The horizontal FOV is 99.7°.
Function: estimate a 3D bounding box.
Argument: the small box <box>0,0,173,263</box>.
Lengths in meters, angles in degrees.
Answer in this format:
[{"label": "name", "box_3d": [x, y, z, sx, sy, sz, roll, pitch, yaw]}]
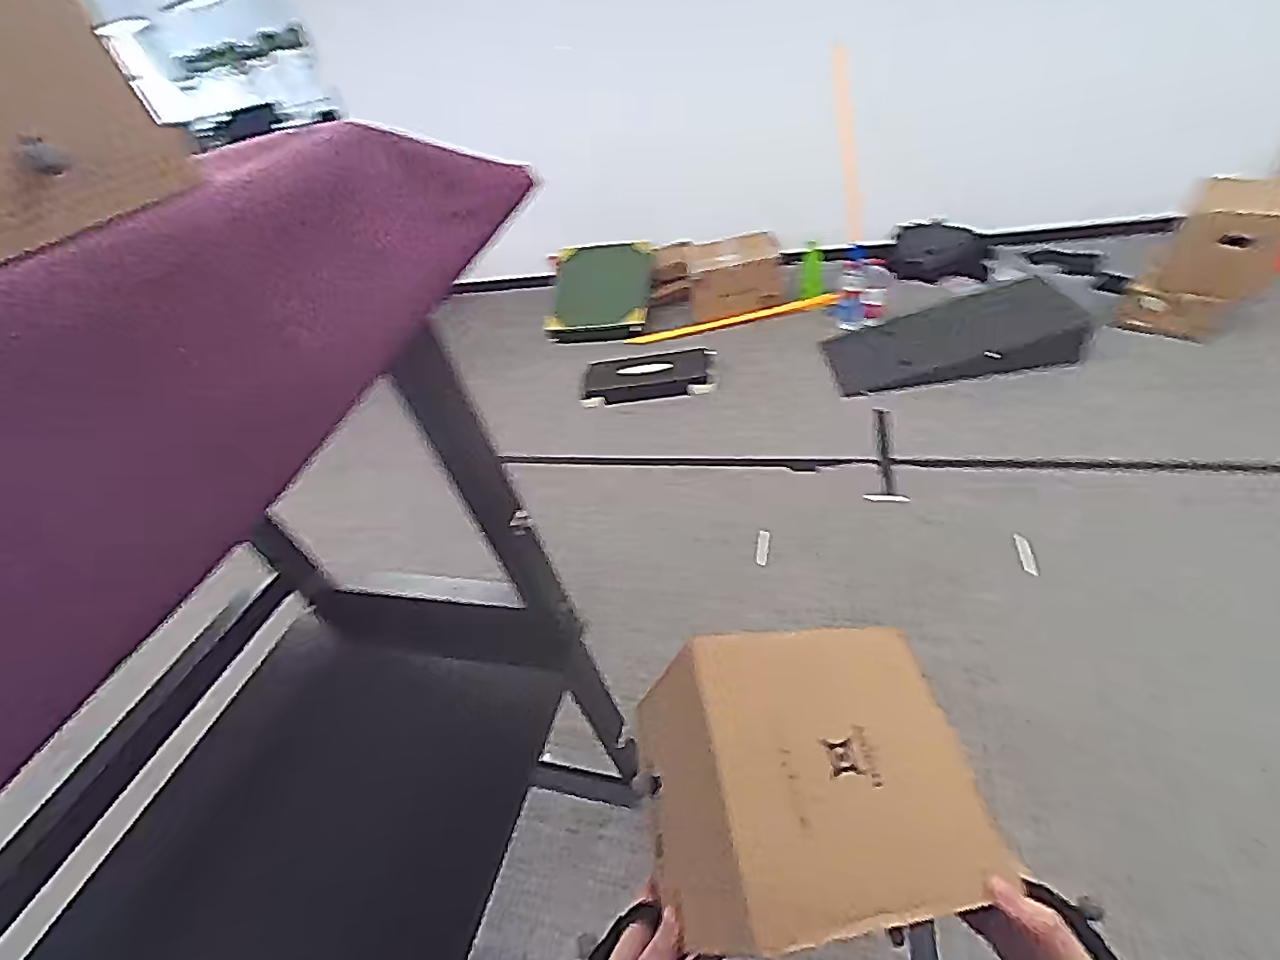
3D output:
[{"label": "small box", "box_3d": [-0.443, -0.232, 0.325, 0.168, 0.176, 0.179, 5, 45, 22]}]
